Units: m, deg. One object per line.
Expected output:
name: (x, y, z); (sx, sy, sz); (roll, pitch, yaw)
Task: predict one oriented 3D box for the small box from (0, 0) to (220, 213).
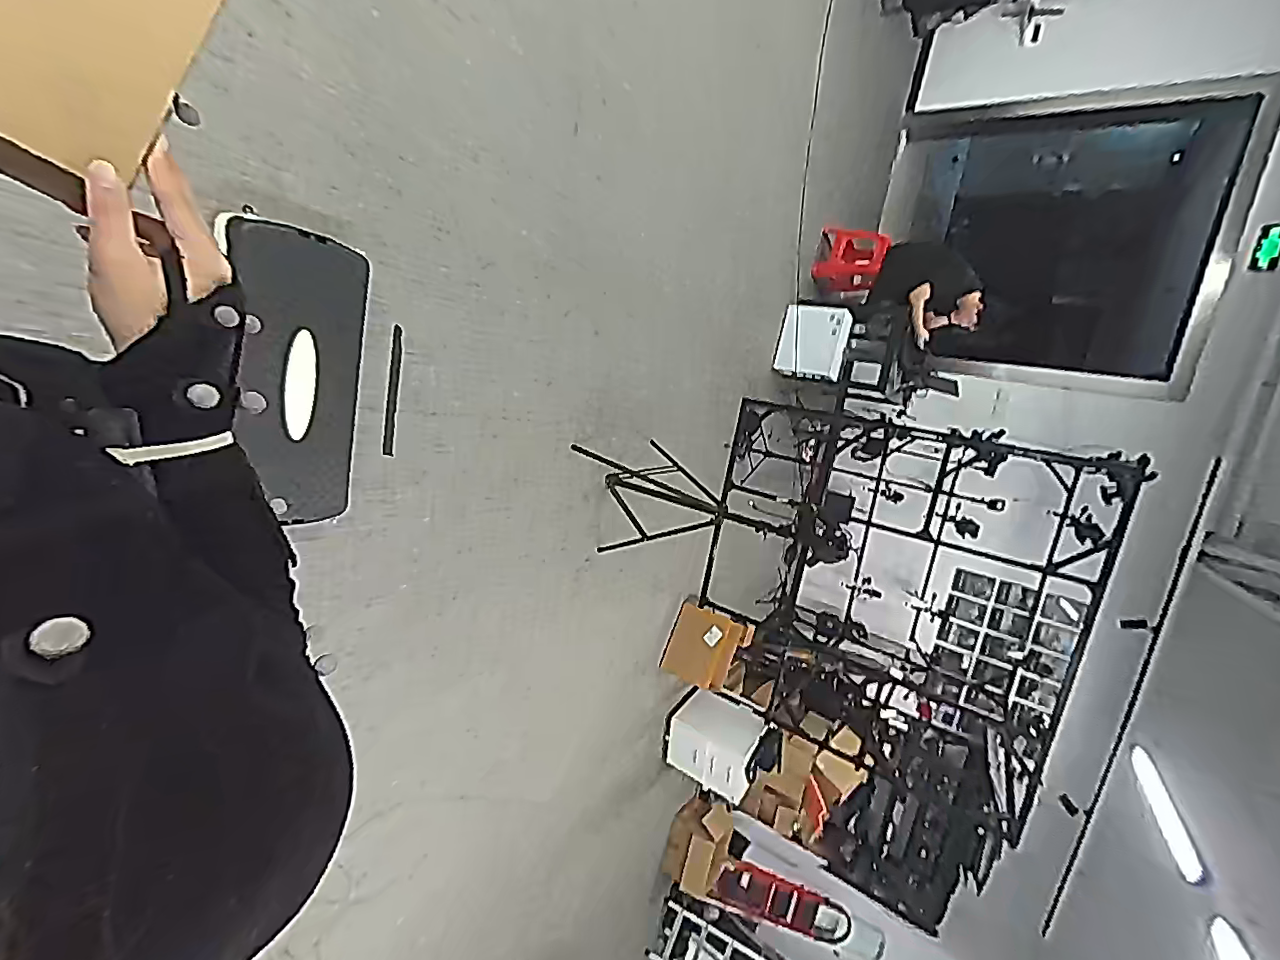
small box: (-0.373, -0.282, 0.309); (0.168, 0.176, 0.179); (27, 82, -49)
